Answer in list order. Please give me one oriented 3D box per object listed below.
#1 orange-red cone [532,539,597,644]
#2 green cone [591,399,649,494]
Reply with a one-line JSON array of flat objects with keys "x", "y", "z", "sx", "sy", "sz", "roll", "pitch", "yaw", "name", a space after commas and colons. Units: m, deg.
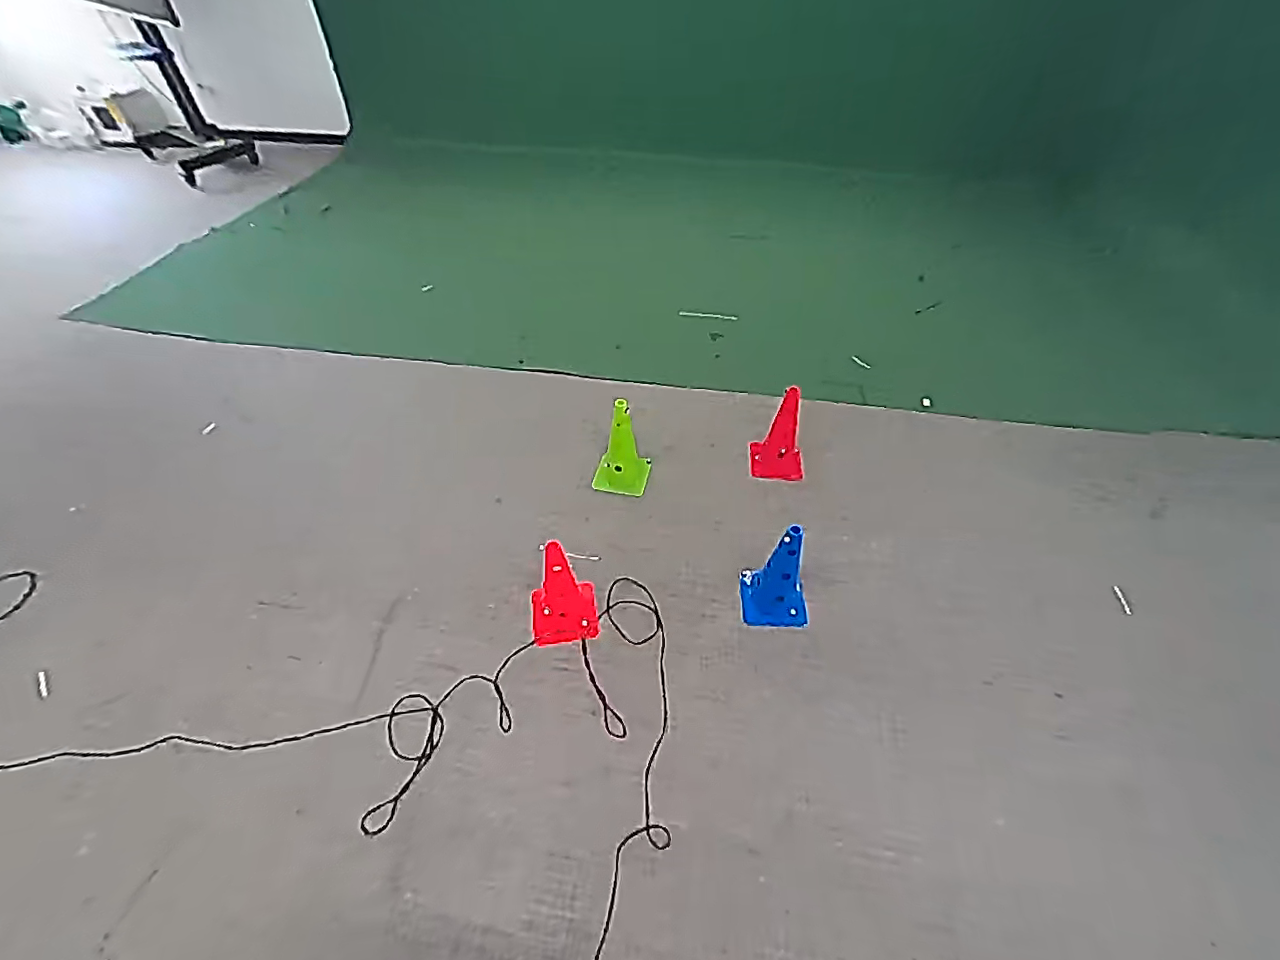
[{"x": -0.233, "y": 0.291, "z": 1.559, "sx": 0.198, "sy": 0.360, "sz": 0.199, "roll": -6, "pitch": 45, "yaw": -8, "name": "orange-red cone"}, {"x": -0.075, "y": -0.147, "z": 1.970, "sx": 0.200, "sy": 0.368, "sz": 0.202, "roll": 8, "pitch": 48, "yaw": 8, "name": "green cone"}]
